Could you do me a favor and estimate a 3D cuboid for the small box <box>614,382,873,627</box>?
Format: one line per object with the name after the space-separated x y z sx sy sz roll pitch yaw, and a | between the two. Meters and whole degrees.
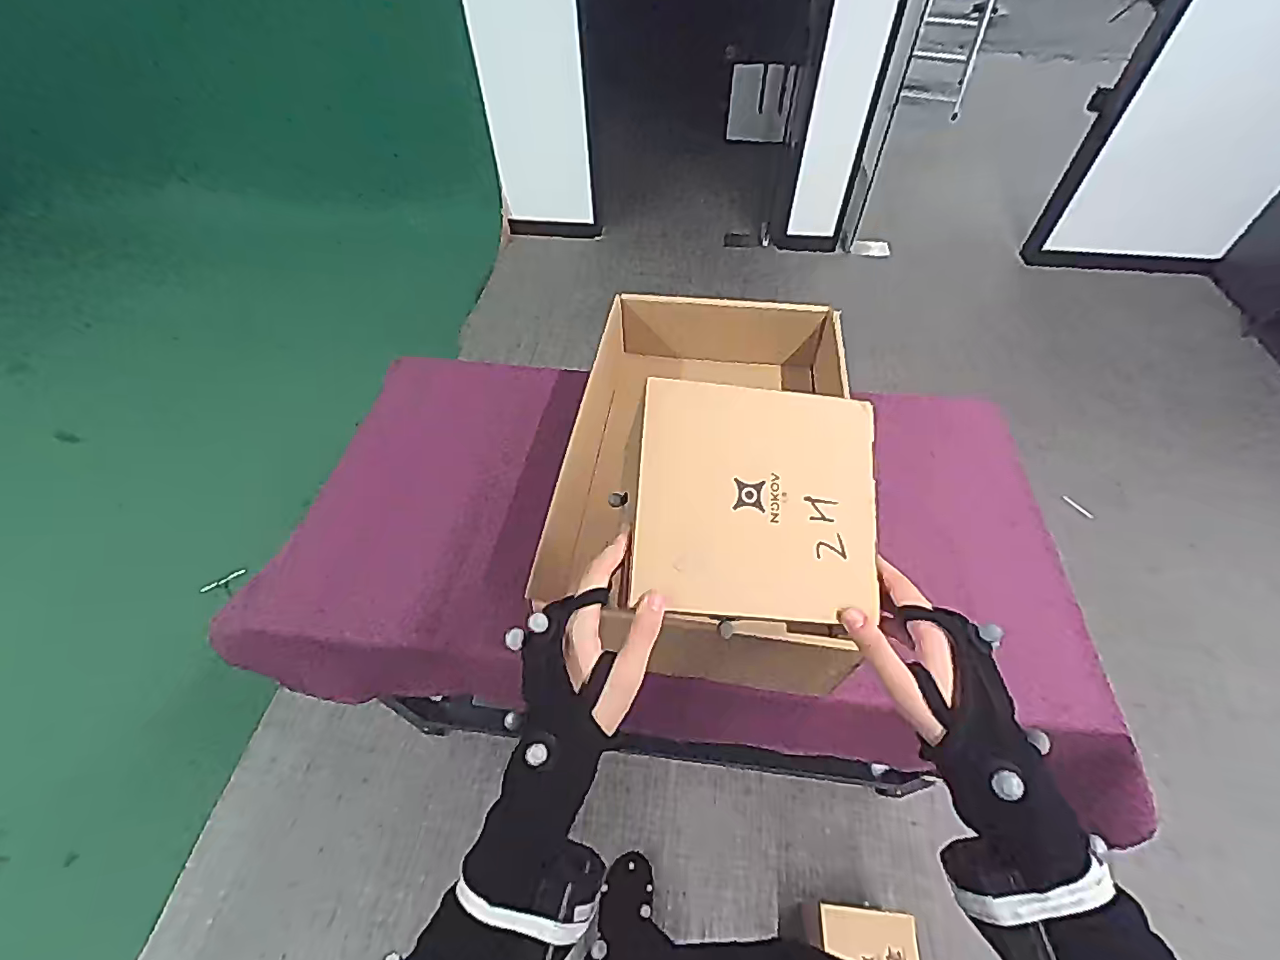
0.073 0.033 0.461 0.179 0.176 0.168 6 76 -5 | small box
